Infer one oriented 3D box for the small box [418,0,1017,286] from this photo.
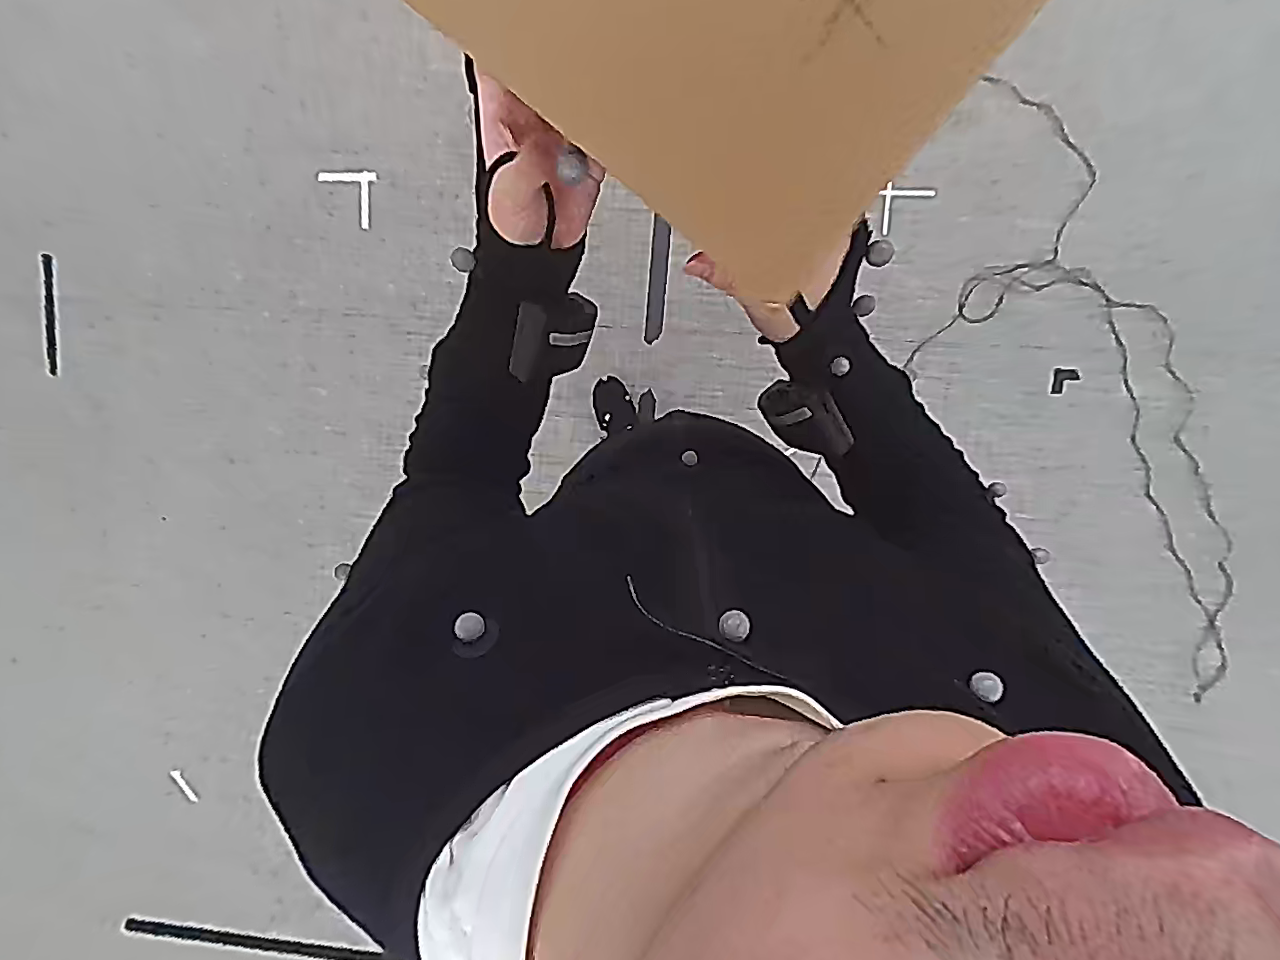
[{"bbox_3d":[0.033,-0.211,0.222,0.179,0.176,0.168,33,117,-14],"label":"small box"}]
